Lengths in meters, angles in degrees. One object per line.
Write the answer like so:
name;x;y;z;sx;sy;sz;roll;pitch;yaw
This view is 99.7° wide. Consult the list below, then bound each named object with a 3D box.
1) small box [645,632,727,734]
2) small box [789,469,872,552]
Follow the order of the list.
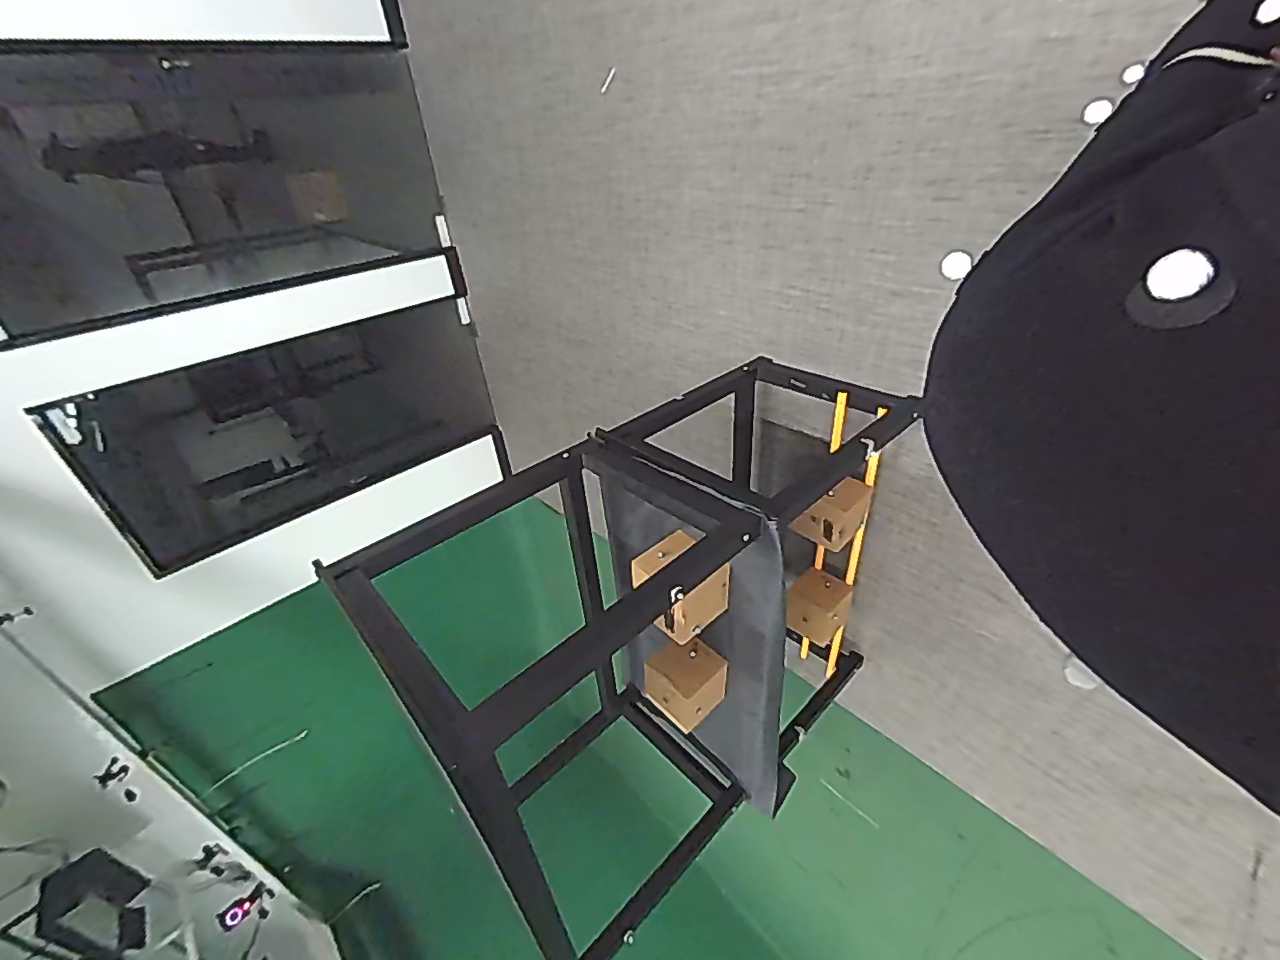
small box;0.132;0.574;1.543;0.168;0.176;0.179;31;137;37
small box;0.595;0.088;1.691;0.179;0.176;0.168;31;137;37
